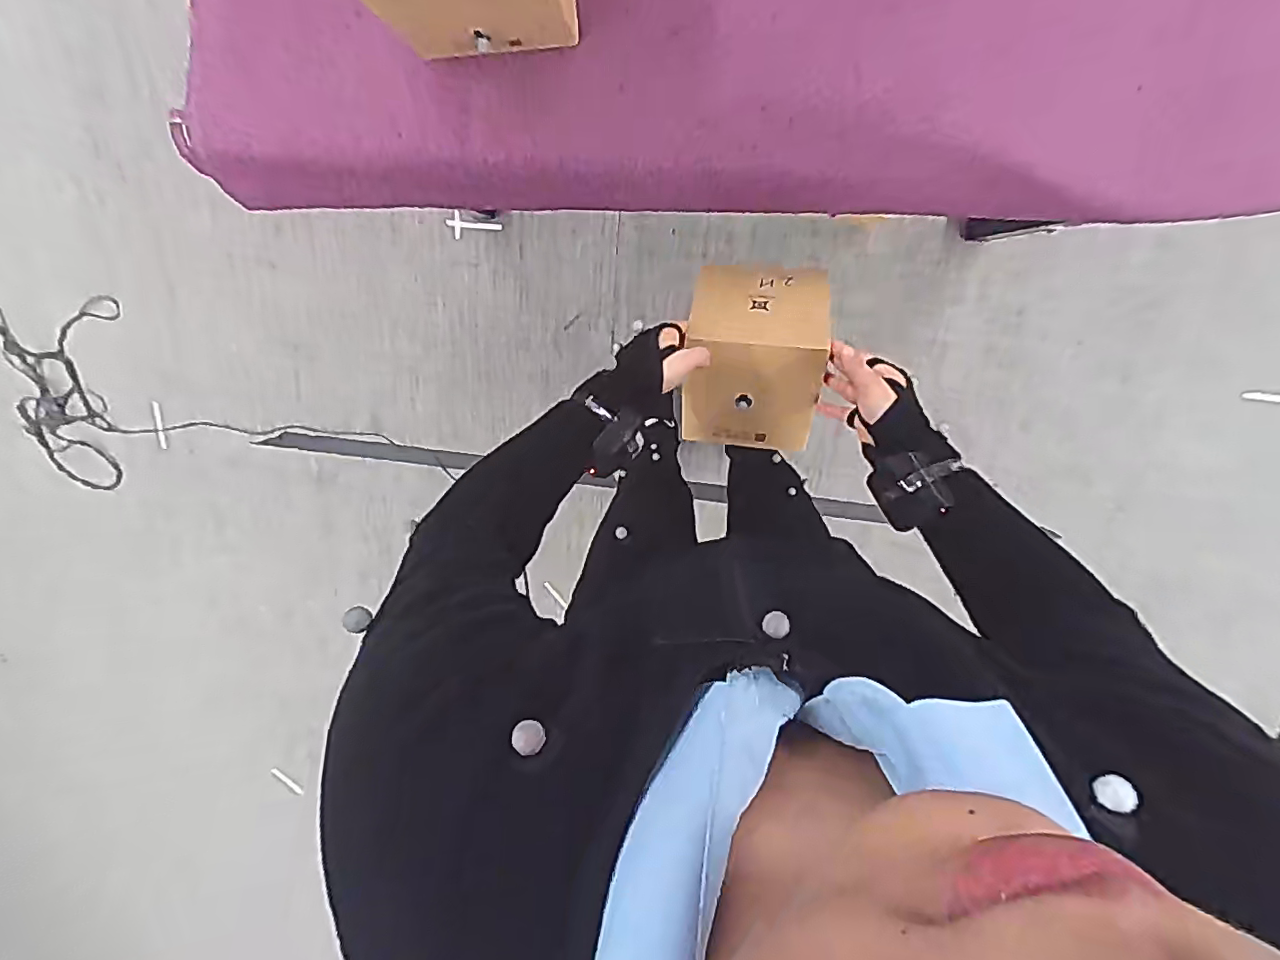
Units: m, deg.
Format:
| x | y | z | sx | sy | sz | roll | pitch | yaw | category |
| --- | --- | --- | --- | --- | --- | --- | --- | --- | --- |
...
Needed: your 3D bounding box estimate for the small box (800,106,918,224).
| x | y | z | sx | sy | sz | roll | pitch | yaw | category |
| --- | --- | --- | --- | --- | --- | --- | --- | --- | --- |
| 0.445 | -0.646 | 1.131 | 0.168 | 0.176 | 0.179 | 9 | 109 | 2 | small box |
